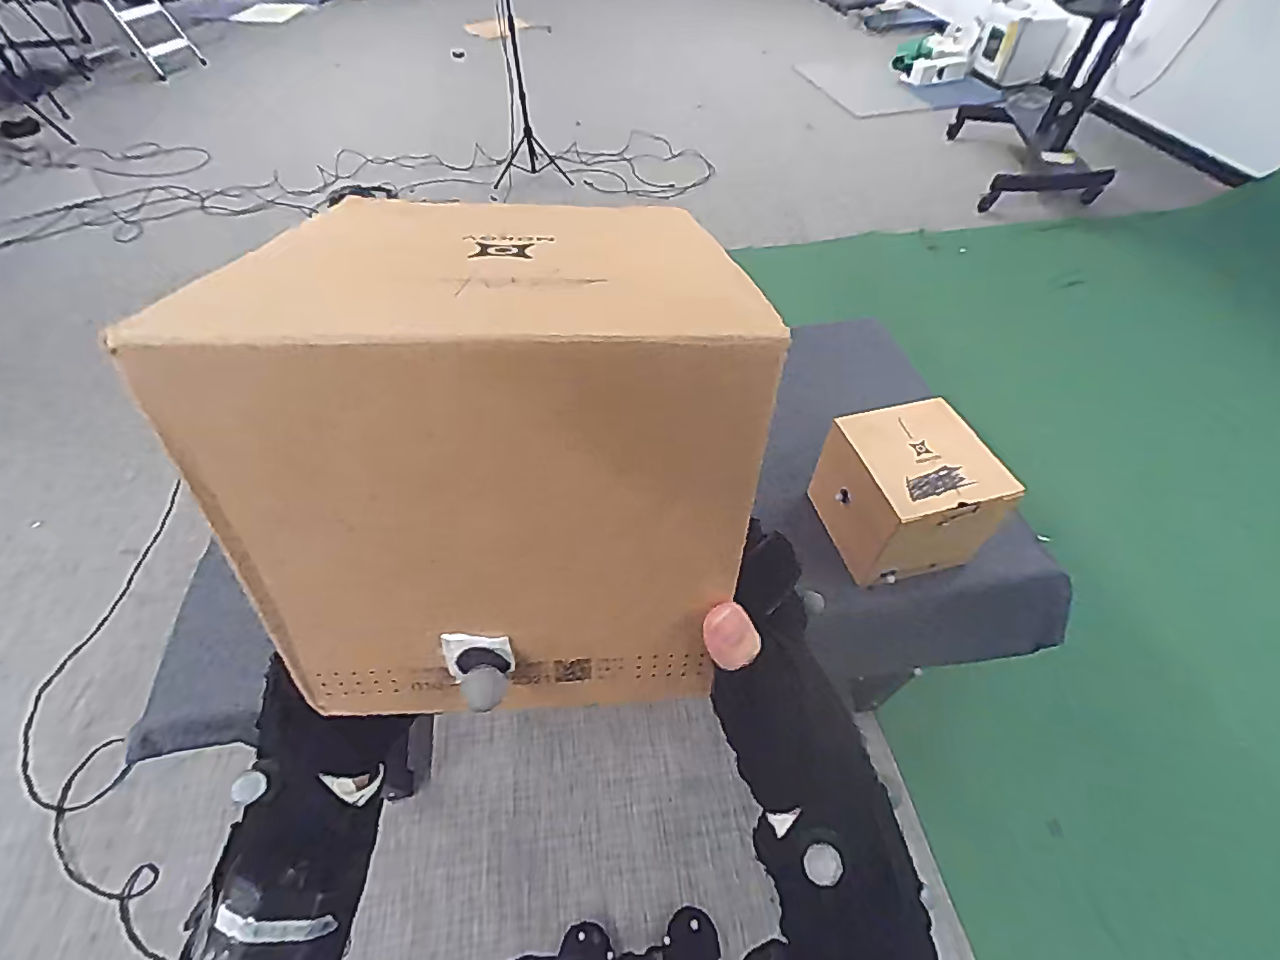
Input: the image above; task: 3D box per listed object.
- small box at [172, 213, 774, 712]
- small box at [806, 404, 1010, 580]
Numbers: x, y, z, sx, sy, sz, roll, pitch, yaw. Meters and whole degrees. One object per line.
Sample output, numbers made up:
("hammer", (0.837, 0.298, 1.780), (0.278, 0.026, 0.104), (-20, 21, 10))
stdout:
("small box", (-0.054, -0.018, 0.261), (0.168, 0.176, 0.179), (-3, 38, -7))
("small box", (0.356, 0.024, 0.758), (0.168, 0.176, 0.179), (-11, 51, -8))
